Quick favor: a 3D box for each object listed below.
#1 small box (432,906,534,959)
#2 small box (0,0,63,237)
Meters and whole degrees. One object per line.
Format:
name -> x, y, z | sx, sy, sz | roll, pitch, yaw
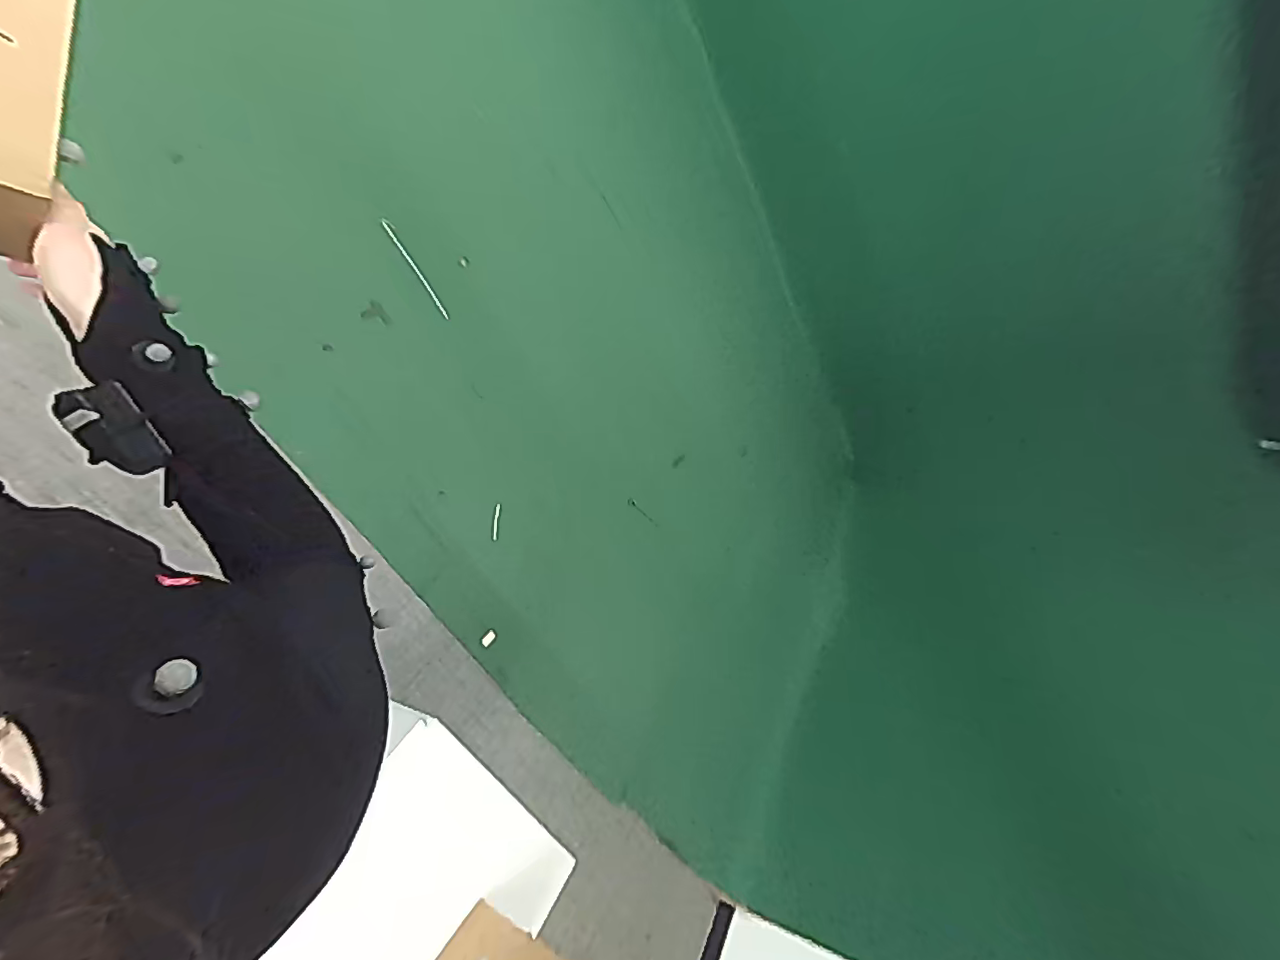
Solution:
small box -> -0.258, 0.876, 0.908 | 0.179, 0.176, 0.168 | -43, 115, -44
small box -> -0.451, -0.255, 0.290 | 0.179, 0.176, 0.168 | 8, 85, -53
